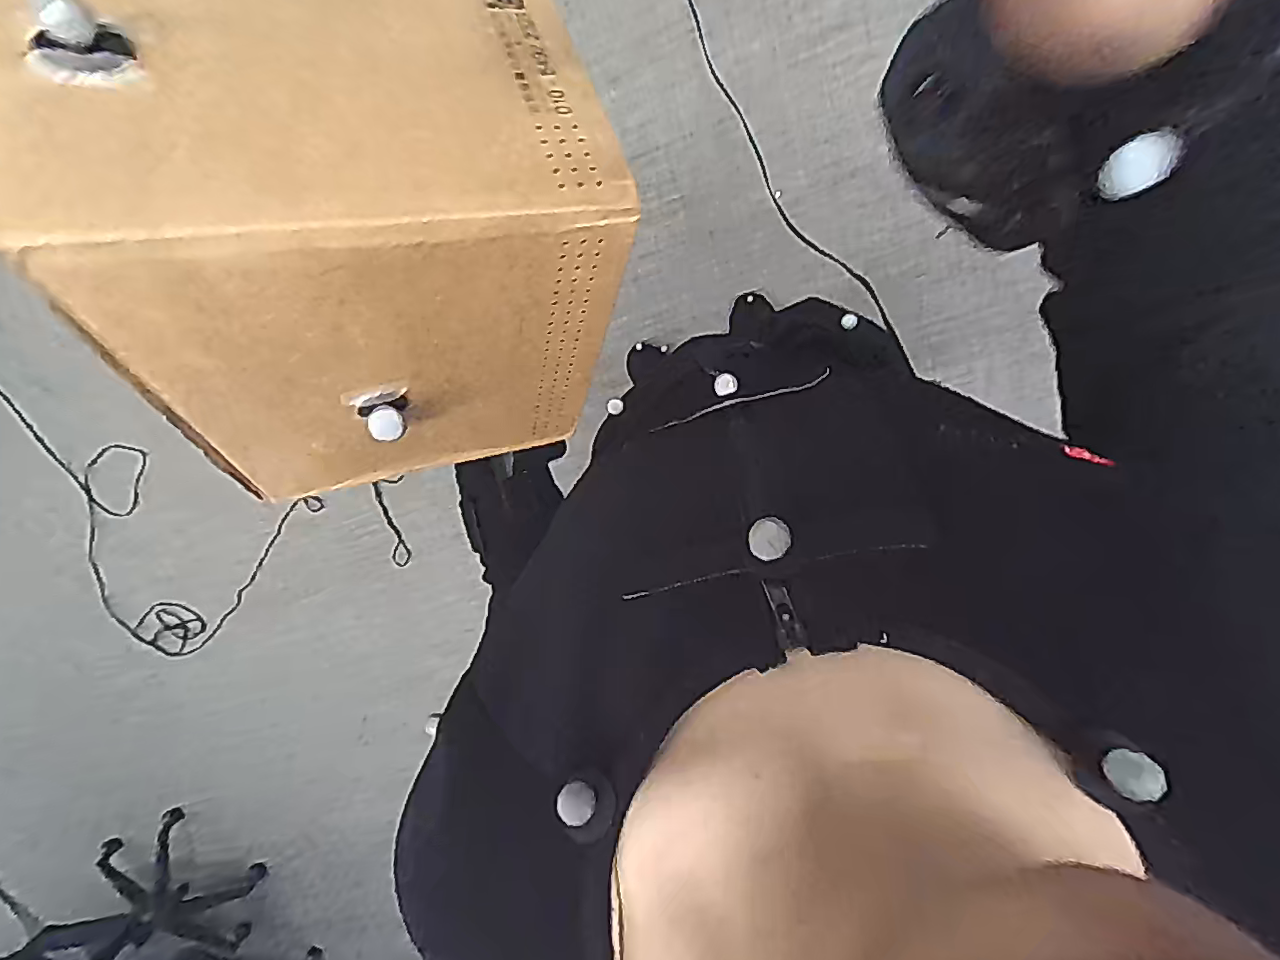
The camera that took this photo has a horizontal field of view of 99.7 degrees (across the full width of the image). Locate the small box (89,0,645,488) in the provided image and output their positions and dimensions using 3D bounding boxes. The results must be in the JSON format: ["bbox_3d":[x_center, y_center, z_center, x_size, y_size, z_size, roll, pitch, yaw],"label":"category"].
[{"bbox_3d":[-0.112,-0.116,0.267,0.176,0.179,0.168,-14,70,-22],"label":"small box"}]
